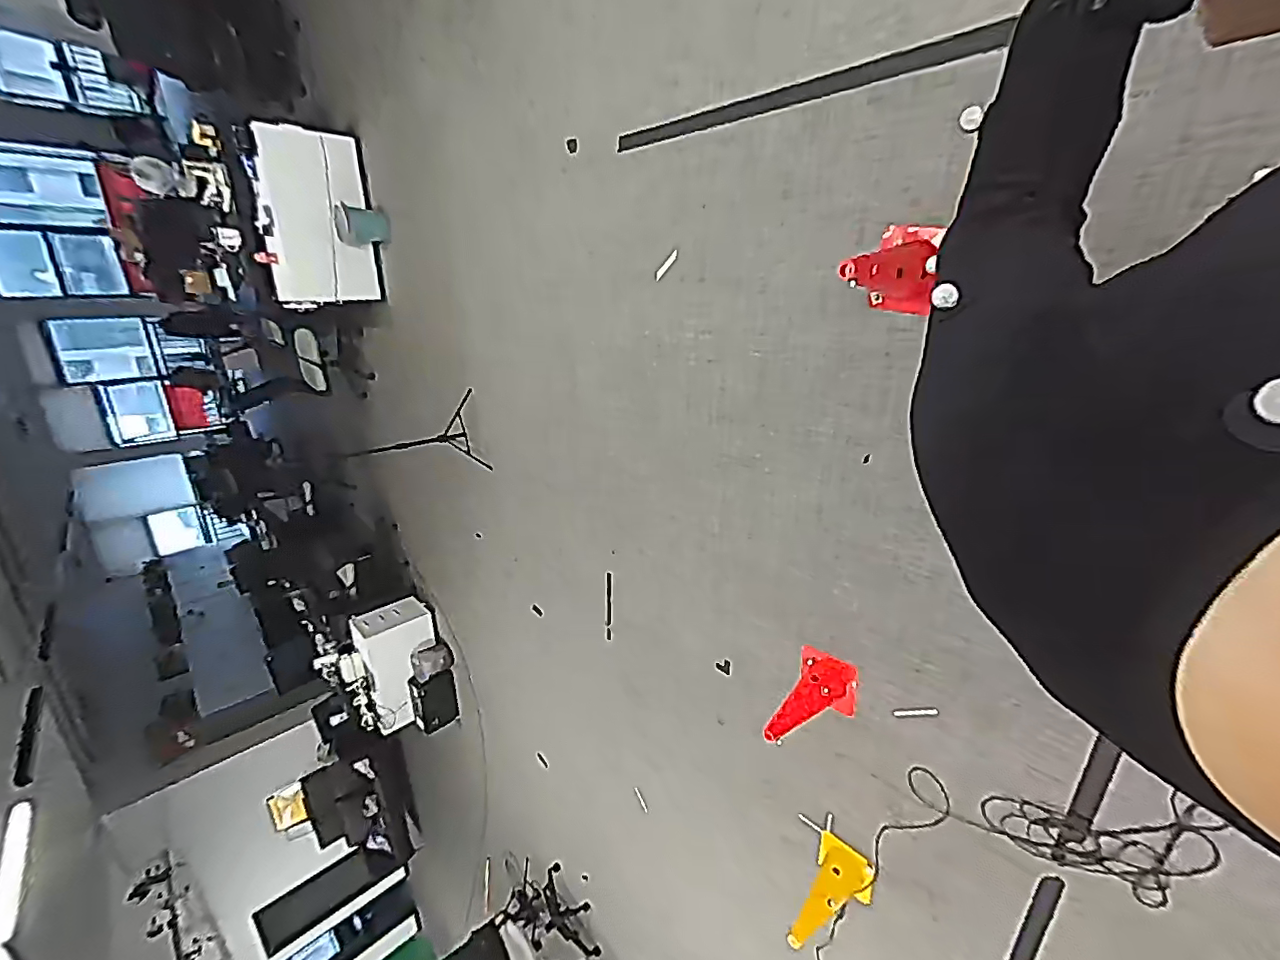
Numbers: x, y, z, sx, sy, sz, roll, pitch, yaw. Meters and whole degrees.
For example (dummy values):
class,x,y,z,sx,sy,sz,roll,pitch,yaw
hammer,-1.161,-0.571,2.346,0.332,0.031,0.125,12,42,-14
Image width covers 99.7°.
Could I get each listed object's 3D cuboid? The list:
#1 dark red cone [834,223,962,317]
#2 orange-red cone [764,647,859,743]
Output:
class,x,y,z,sx,sy,sz,roll,pitch,yaw
dark red cone,0.541,-0.473,1.209,0.201,0.394,0.202,26,122,39
orange-red cone,0.514,0.723,1.718,0.198,0.360,0.199,17,118,45
